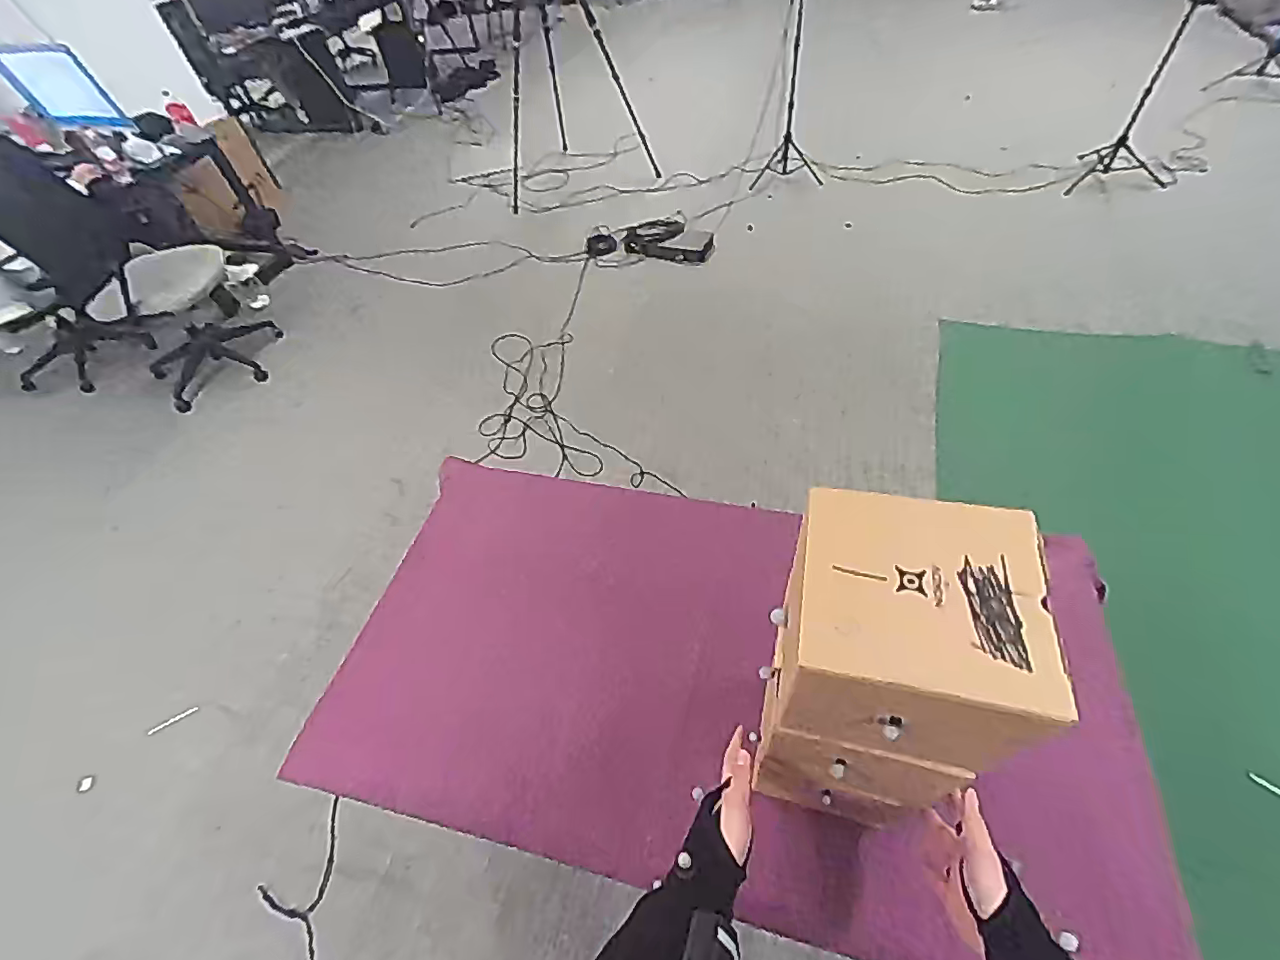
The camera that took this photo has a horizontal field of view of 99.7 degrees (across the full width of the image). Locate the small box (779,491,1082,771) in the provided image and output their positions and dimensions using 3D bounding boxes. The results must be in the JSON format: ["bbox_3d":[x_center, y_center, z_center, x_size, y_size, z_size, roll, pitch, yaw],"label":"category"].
[{"bbox_3d":[0.224,0.134,0.466,0.179,0.176,0.168,8,53,14],"label":"small box"}]

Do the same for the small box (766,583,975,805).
[{"bbox_3d":[0.239,0.237,0.594,0.179,0.176,0.168,9,54,15],"label":"small box"}]

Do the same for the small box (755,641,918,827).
[{"bbox_3d":[0.254,0.340,0.720,0.179,0.176,0.168,11,54,15],"label":"small box"}]
